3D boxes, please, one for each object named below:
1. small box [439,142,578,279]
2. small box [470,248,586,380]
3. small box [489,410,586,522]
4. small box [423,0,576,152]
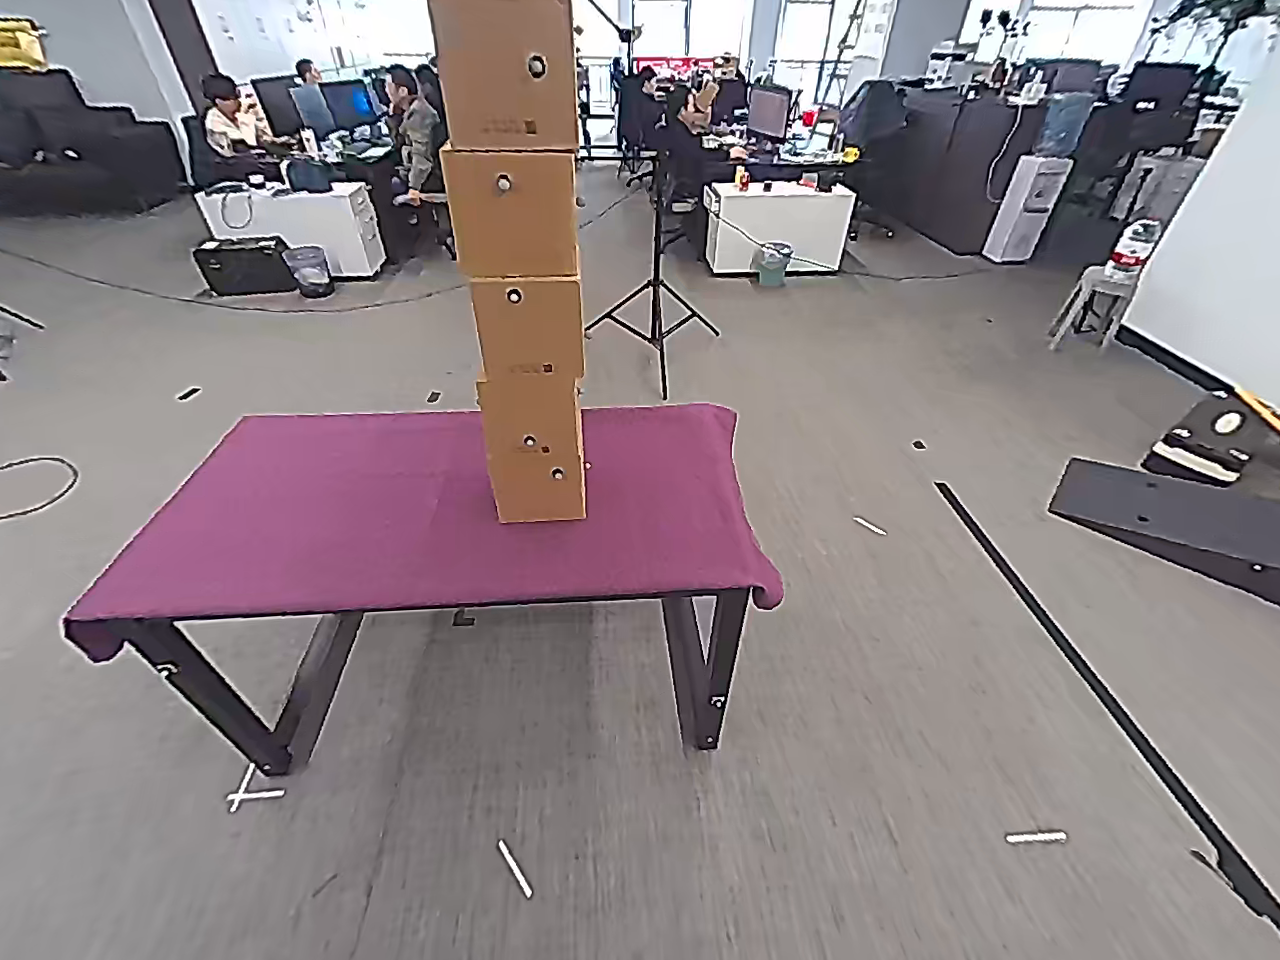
[{"bbox_3d":[-0.185,-0.415,0.821,0.179,0.176,0.168,-4,40,-5],"label":"small box"},{"bbox_3d":[-0.180,-0.283,0.916,0.168,0.176,0.179,-3,39,-5],"label":"small box"},{"bbox_3d":[-0.203,-0.029,1.122,0.179,0.176,0.168,-3,39,-4],"label":"small box"},{"bbox_3d":[-0.174,-0.543,0.721,0.168,0.176,0.179,-3,39,-7],"label":"small box"}]
